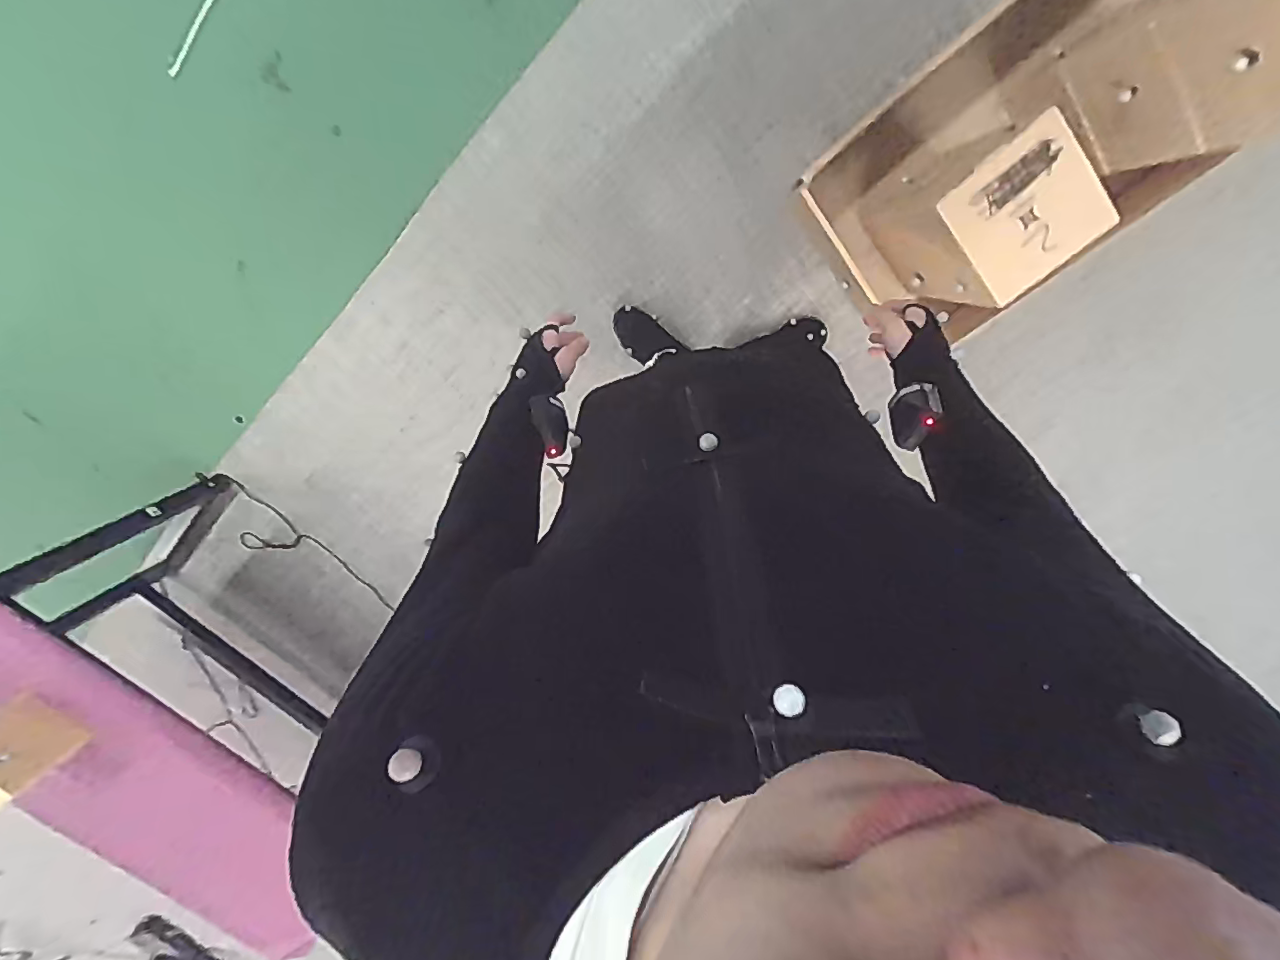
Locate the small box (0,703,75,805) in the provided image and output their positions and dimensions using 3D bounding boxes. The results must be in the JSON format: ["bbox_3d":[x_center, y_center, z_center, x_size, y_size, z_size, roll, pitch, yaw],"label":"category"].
[{"bbox_3d":[-1.440,0.623,1.193,0.168,0.176,0.179,-35,106,16],"label":"small box"}]

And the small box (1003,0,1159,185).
[{"bbox_3d":[0.724,-0.599,0.855,0.168,0.176,0.179,-34,106,17],"label":"small box"}]

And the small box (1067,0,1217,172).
[{"bbox_3d":[0.713,-0.538,0.703,0.168,0.176,0.179,-34,104,18],"label":"small box"}]

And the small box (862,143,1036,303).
[{"bbox_3d":[0.519,-0.434,0.932,0.168,0.176,0.179,-38,104,16],"label":"small box"}]
